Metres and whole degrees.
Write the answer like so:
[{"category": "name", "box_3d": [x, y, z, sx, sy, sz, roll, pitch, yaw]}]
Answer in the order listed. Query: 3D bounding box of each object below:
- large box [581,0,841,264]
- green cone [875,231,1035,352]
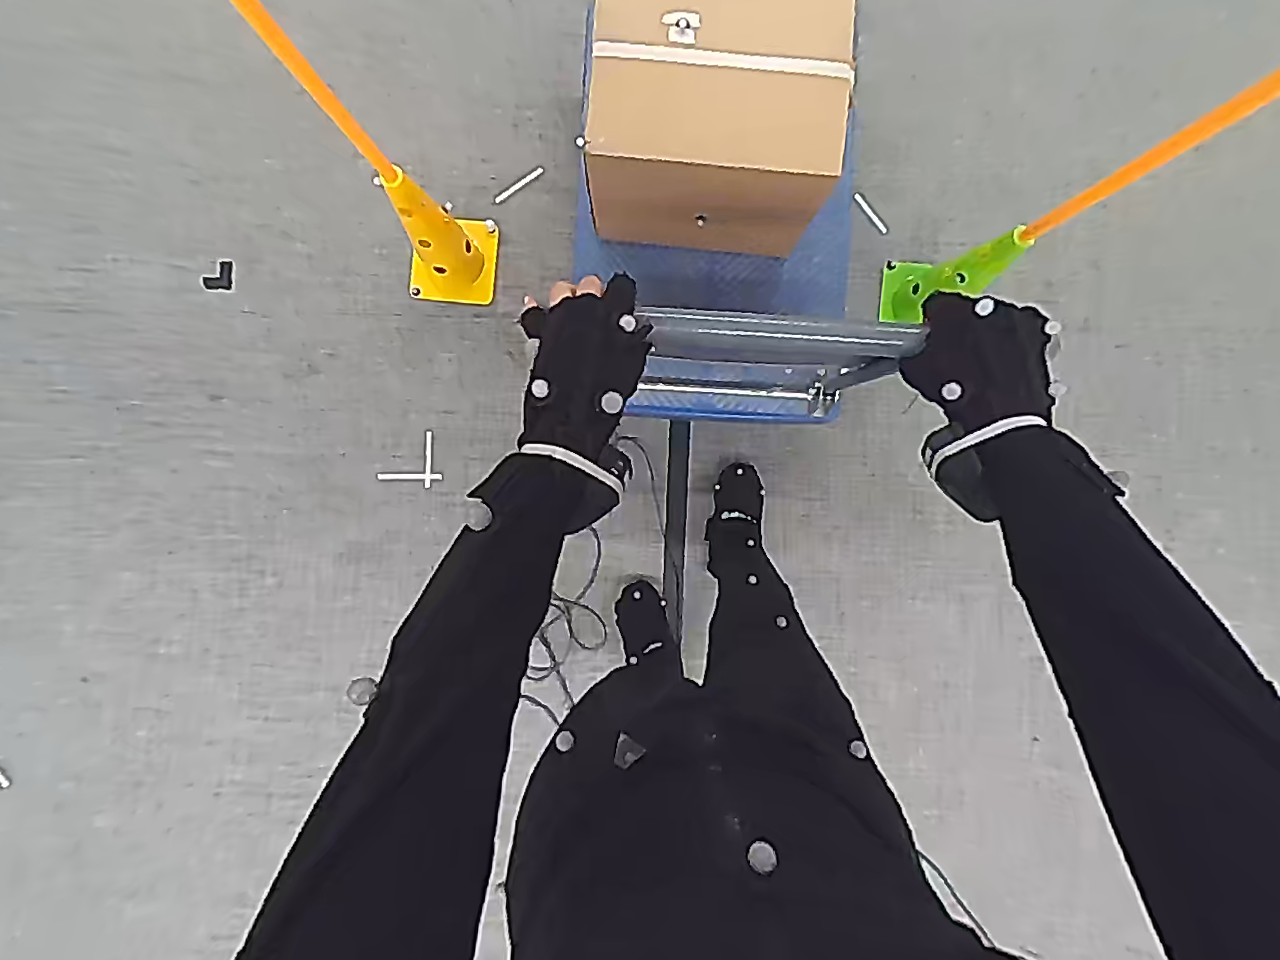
[{"category": "large box", "box_3d": [0.116, -0.621, 1.008, 0.408, 0.320, 0.320, 5, 90, 0]}, {"category": "green cone", "box_3d": [0.681, -0.423, 1.150, 0.202, 0.368, 0.200, 5, 89, -1]}]
